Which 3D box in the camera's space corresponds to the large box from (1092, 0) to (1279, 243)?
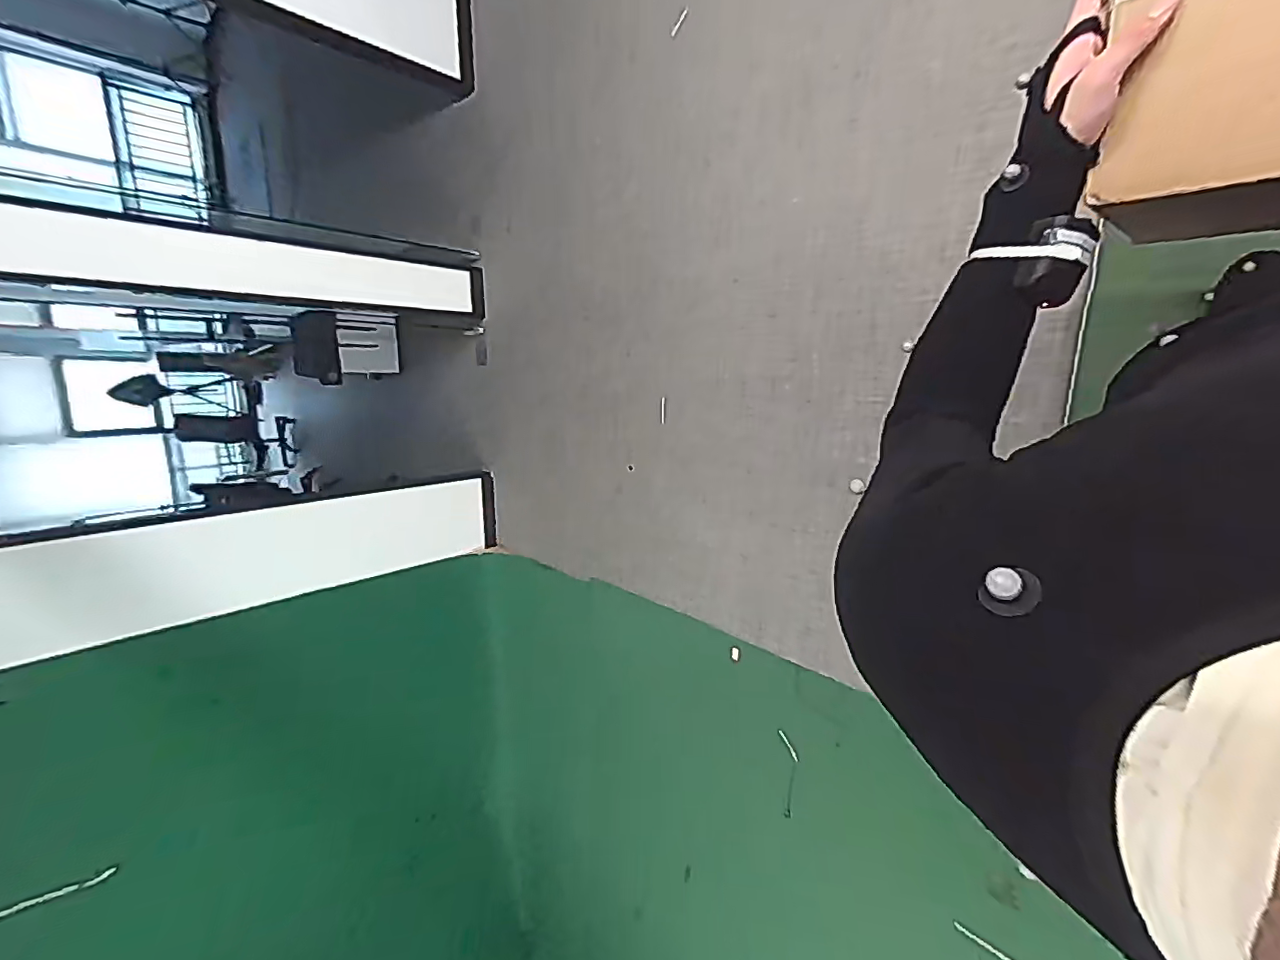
[{"bbox_3d":[0.628,-0.387,0.396,0.408,0.320,0.320,12,110,45],"label":"large box"}]
